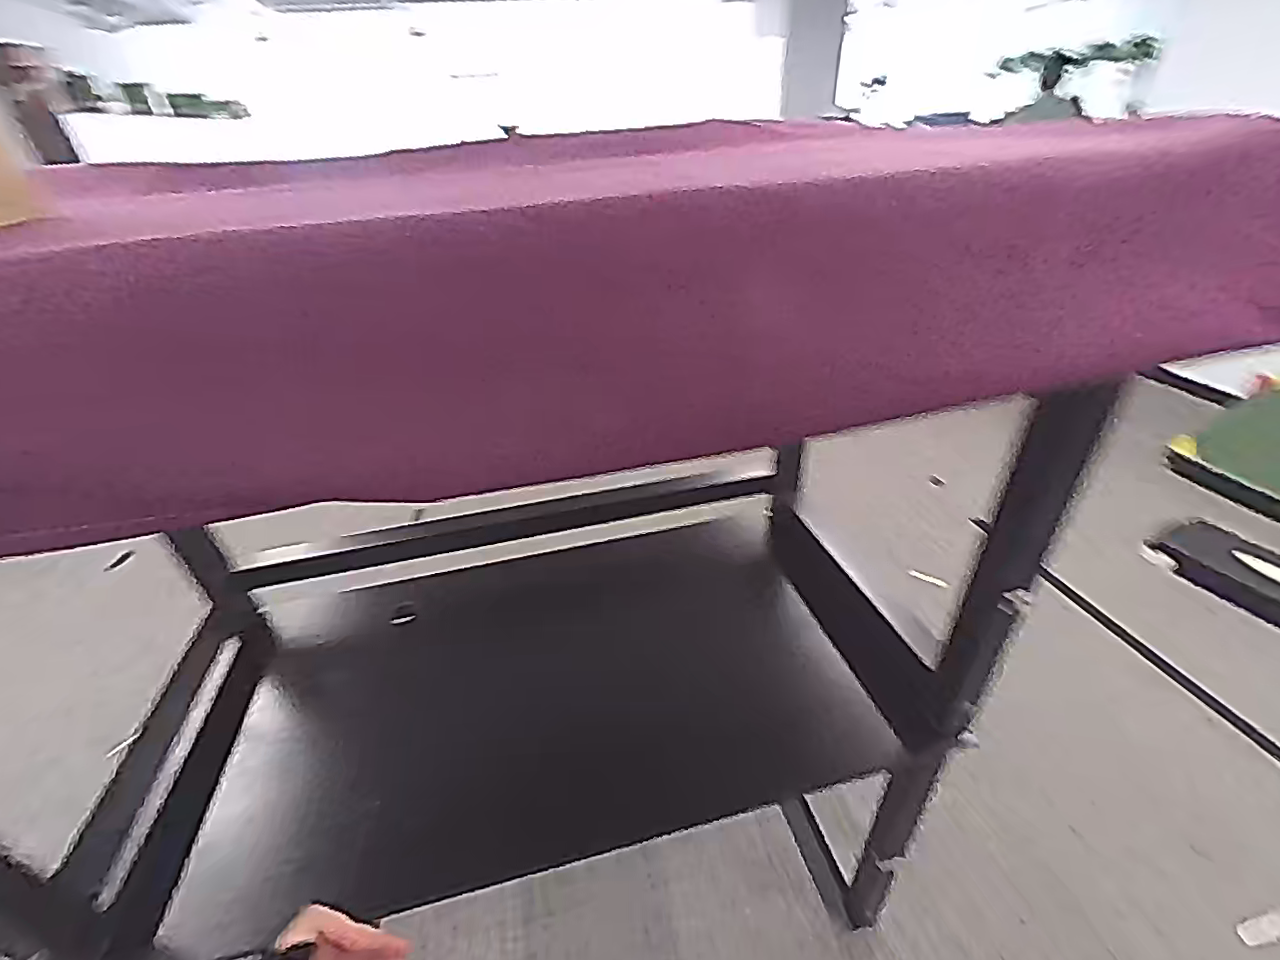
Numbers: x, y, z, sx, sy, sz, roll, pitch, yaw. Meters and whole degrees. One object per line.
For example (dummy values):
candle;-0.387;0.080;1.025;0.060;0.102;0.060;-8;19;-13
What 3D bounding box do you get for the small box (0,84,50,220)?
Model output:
small box;-0.539;-0.240;0.328;0.168;0.176;0.179;-11;33;-10
